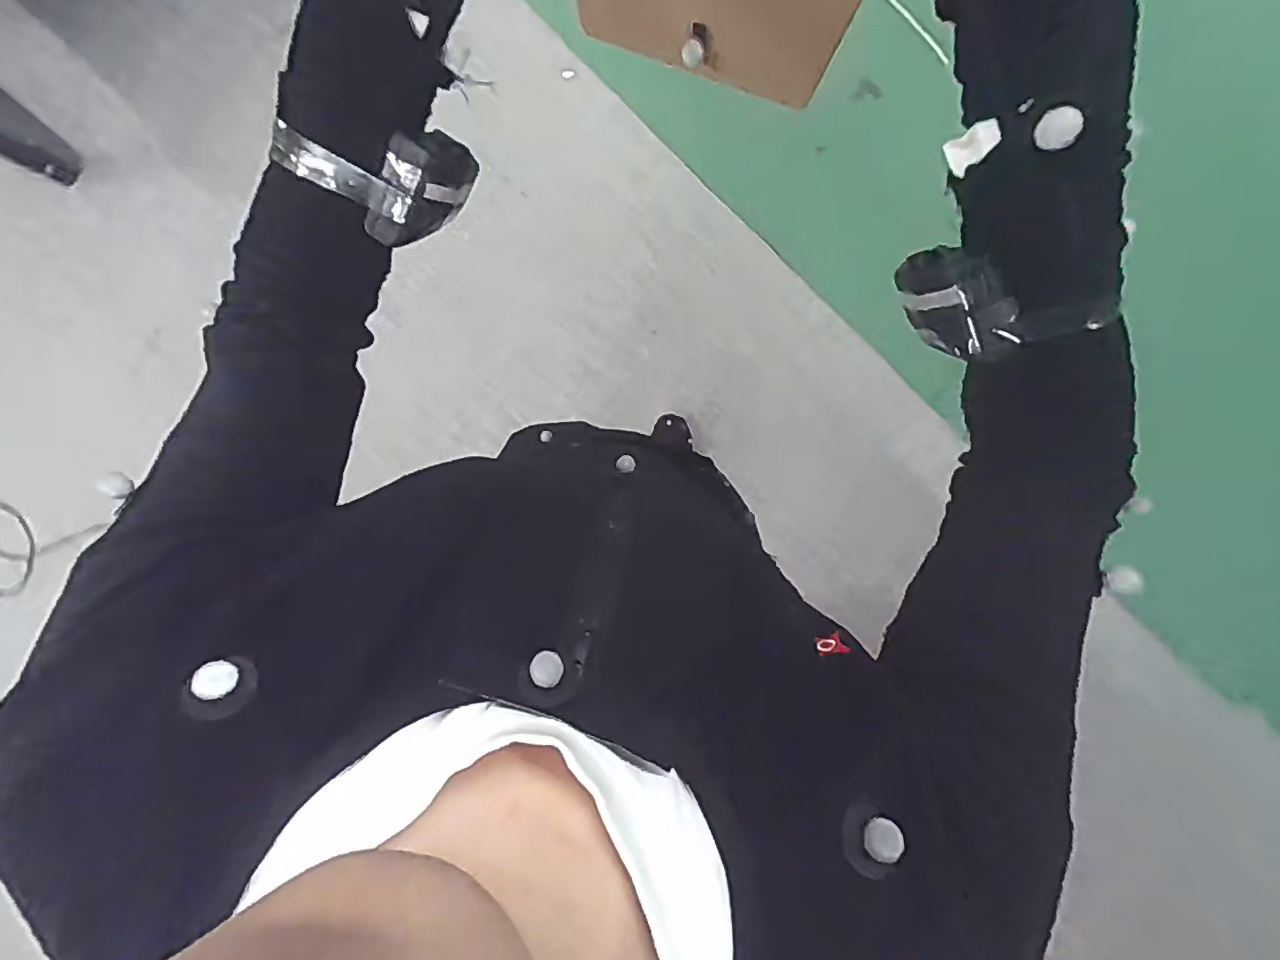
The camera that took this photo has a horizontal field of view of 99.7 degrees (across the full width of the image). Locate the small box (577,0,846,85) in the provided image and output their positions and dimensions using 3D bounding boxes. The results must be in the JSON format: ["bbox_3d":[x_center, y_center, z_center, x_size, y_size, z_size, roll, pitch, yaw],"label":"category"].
[{"bbox_3d":[0.060,-0.368,0.299,0.179,0.176,0.168,18,95,-2],"label":"small box"}]
